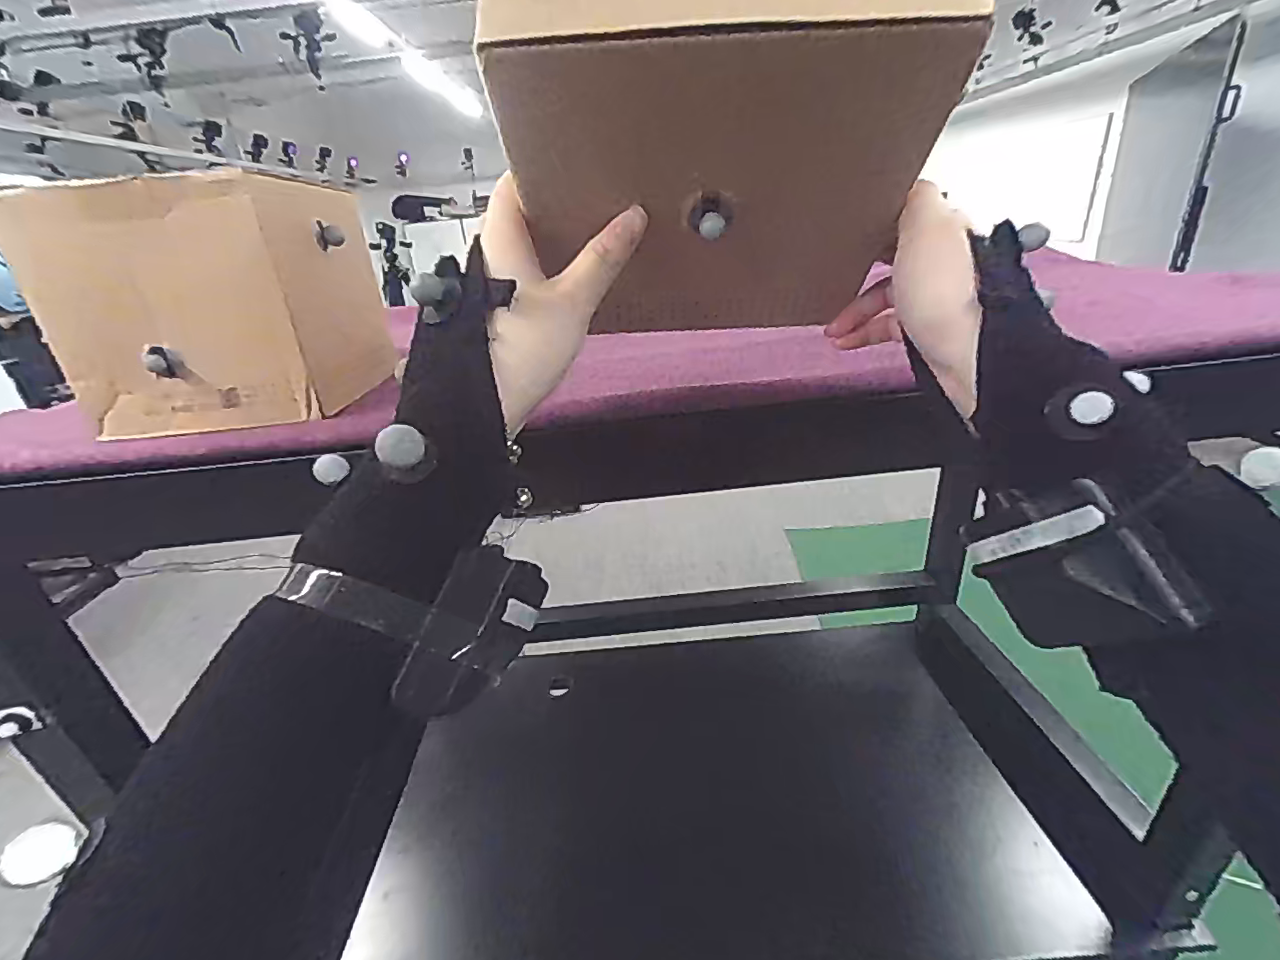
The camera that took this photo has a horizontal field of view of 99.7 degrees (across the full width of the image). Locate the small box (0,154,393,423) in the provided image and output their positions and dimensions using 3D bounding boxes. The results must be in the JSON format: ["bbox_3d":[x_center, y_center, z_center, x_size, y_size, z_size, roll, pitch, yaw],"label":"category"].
[{"bbox_3d":[-0.323,-0.153,0.441,0.168,0.176,0.179,-6,24,-2],"label":"small box"}]
